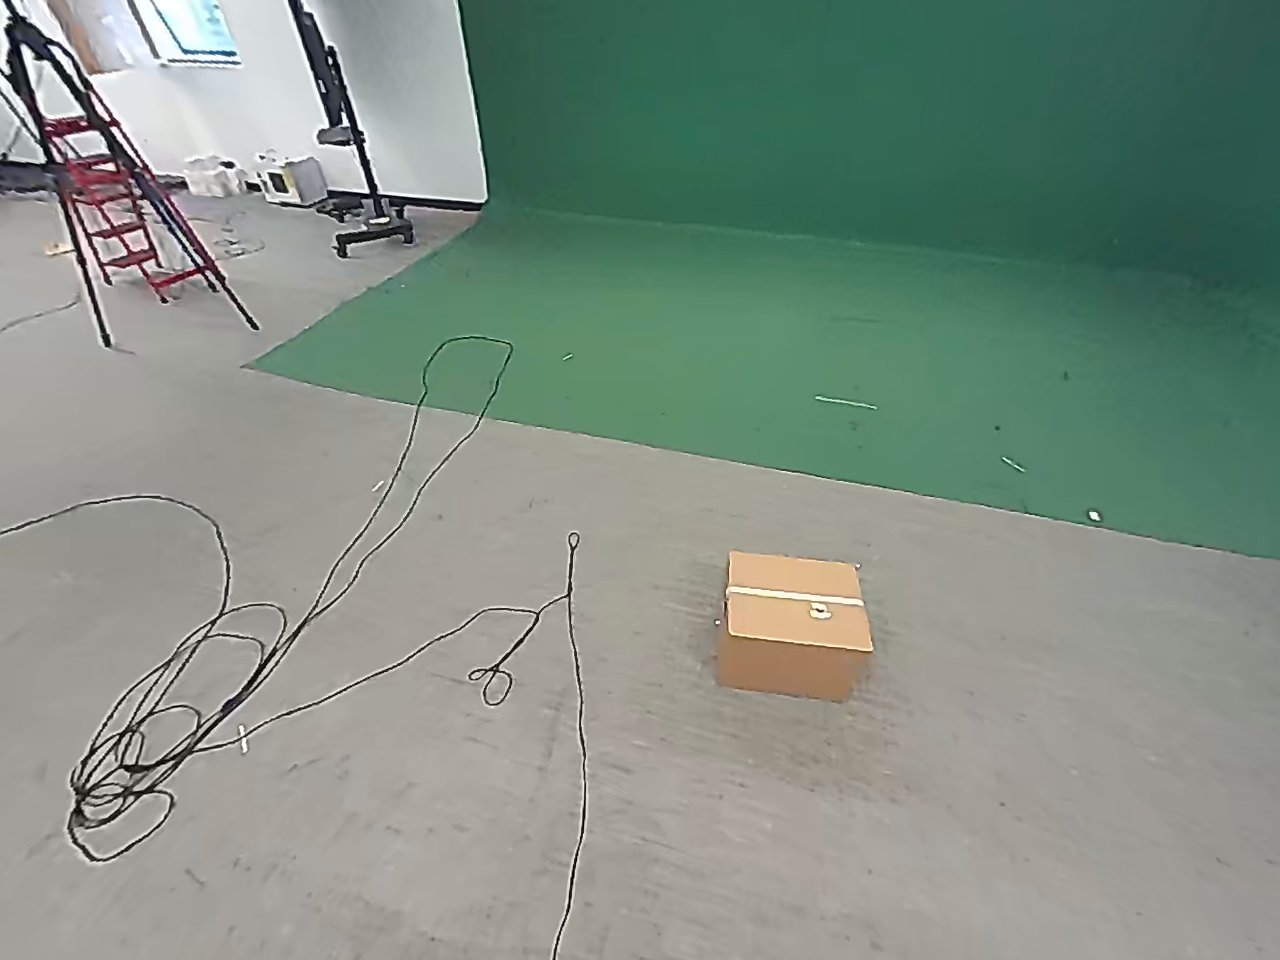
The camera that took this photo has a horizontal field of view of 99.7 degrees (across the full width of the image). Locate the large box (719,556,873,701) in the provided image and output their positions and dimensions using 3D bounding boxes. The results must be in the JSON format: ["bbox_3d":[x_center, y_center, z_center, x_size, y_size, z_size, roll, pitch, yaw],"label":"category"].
[{"bbox_3d":[0.469,0.475,1.730,0.408,0.320,0.320,5,42,5],"label":"large box"}]
